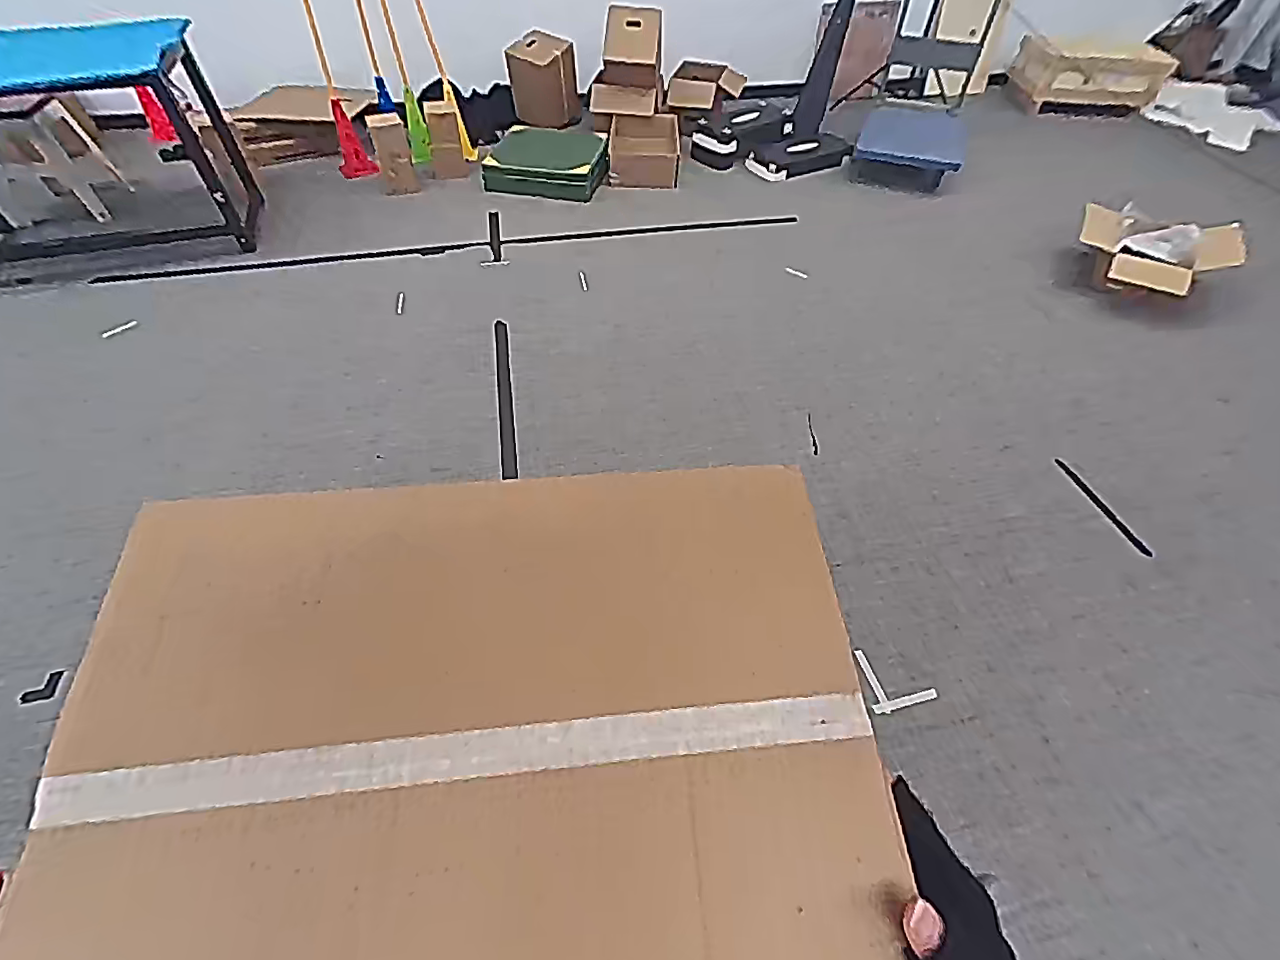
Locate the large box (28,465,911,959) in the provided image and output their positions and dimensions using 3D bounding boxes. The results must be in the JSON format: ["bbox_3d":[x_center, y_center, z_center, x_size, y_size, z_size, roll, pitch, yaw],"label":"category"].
[{"bbox_3d":[-0.090,0.207,0.422,0.408,0.320,0.320,-3,63,-5],"label":"large box"}]
